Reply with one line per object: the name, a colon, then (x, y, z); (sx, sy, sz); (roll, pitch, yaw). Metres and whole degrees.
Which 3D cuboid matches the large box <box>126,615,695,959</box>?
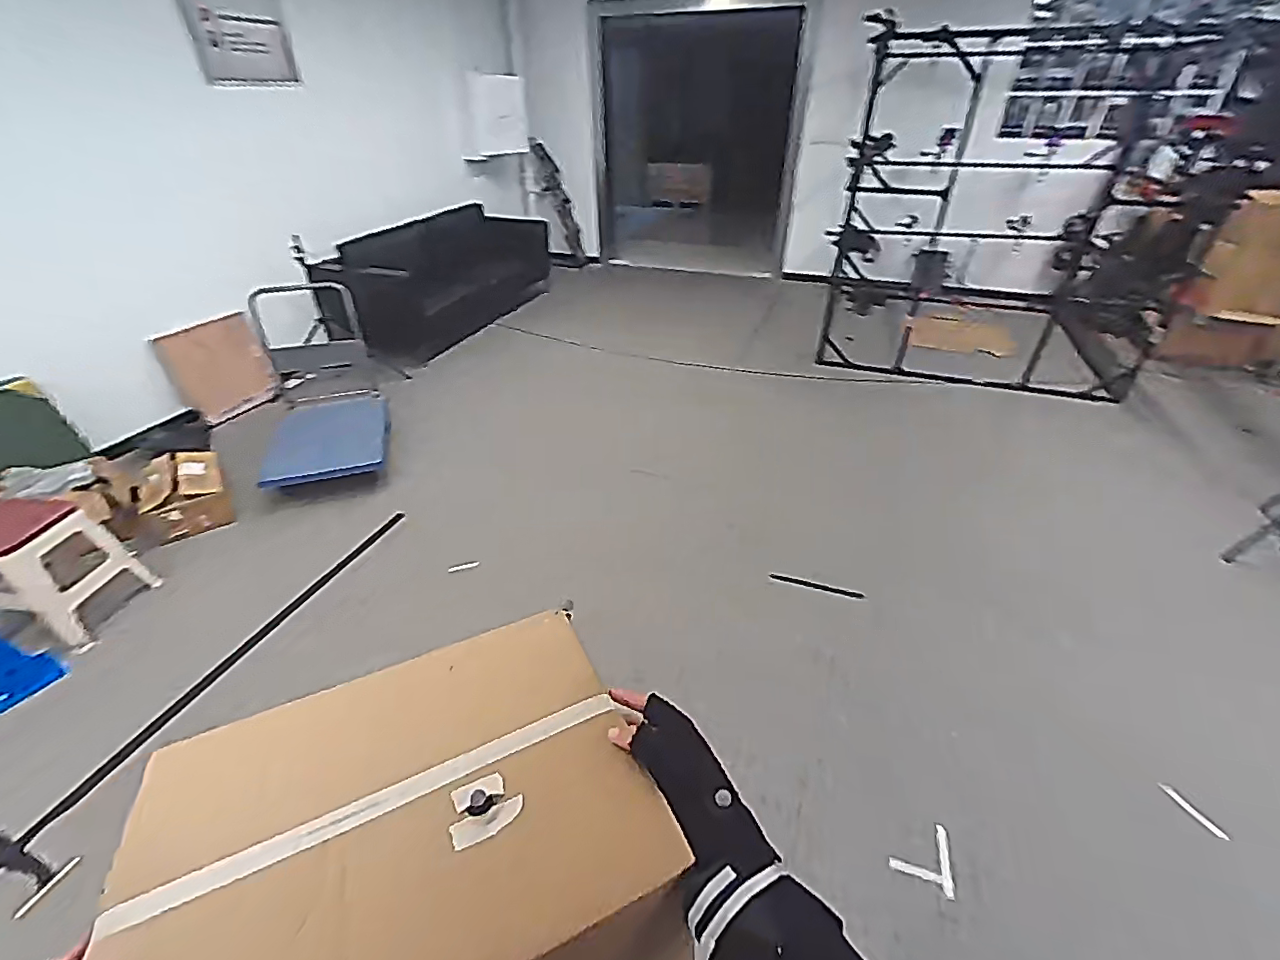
large box: (-0.190, 0.408, 0.548); (0.408, 0.320, 0.320); (-15, 32, -20)
